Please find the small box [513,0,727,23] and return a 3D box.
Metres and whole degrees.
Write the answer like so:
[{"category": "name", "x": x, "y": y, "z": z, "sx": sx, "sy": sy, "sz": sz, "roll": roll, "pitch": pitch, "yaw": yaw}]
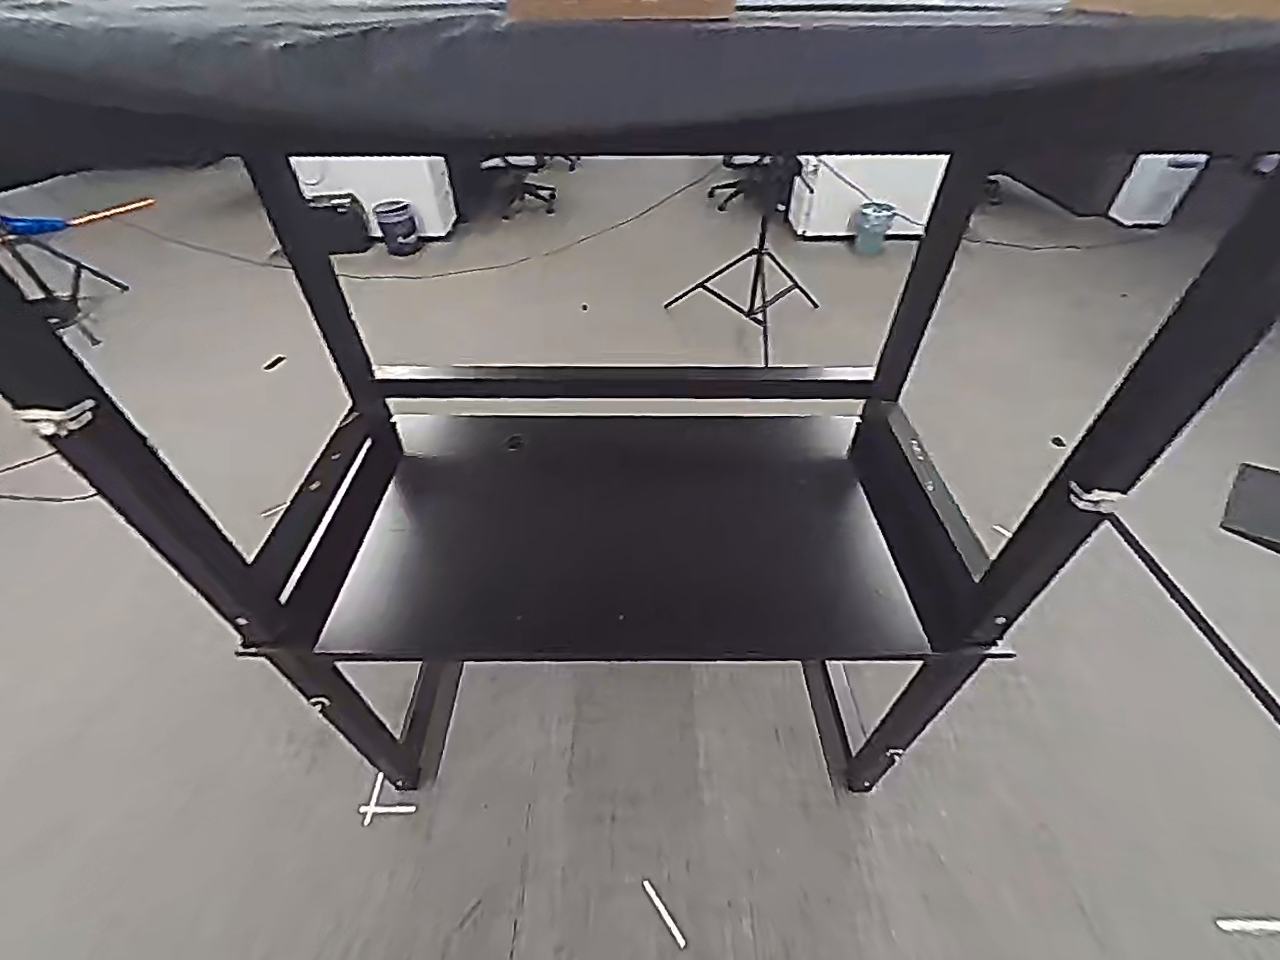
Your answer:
[{"category": "small box", "x": -0.016, "y": -0.455, "z": 0.404, "sx": 0.168, "sy": 0.176, "sz": 0.179, "roll": -1, "pitch": 42, "yaw": -1}]
